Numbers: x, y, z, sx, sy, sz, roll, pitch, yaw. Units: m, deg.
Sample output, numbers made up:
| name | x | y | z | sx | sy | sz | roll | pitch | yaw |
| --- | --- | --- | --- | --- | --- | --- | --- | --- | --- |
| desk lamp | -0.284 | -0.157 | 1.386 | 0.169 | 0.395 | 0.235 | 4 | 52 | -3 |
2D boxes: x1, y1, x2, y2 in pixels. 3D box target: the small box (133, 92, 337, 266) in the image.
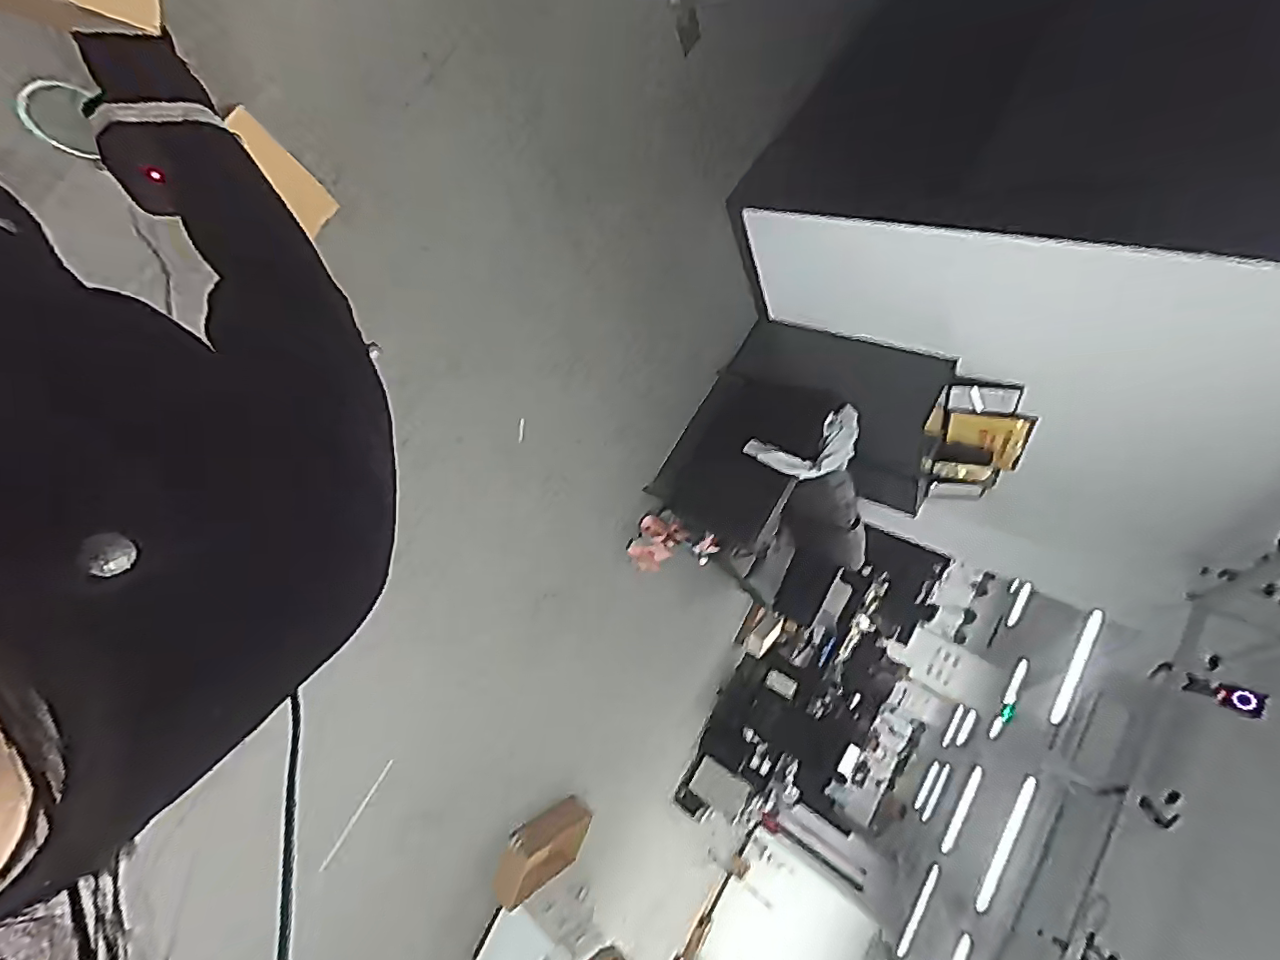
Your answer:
| name | x | y | z | sx | sy | sz | roll | pitch | yaw |
| --- | --- | --- | --- | --- | --- | --- | --- | --- | --- |
| small box | -0.640 | -0.472 | 0.857 | 0.168 | 0.176 | 0.179 | -58 | 148 | -11 |

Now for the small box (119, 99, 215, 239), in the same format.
| name | x | y | z | sx | sy | sz | roll | pitch | yaw |
| --- | --- | --- | --- | --- | --- | --- | --- | --- | --- |
| small box | -0.754 | -0.536 | 0.957 | 0.168 | 0.176 | 0.179 | -59 | 146 | -10 |
